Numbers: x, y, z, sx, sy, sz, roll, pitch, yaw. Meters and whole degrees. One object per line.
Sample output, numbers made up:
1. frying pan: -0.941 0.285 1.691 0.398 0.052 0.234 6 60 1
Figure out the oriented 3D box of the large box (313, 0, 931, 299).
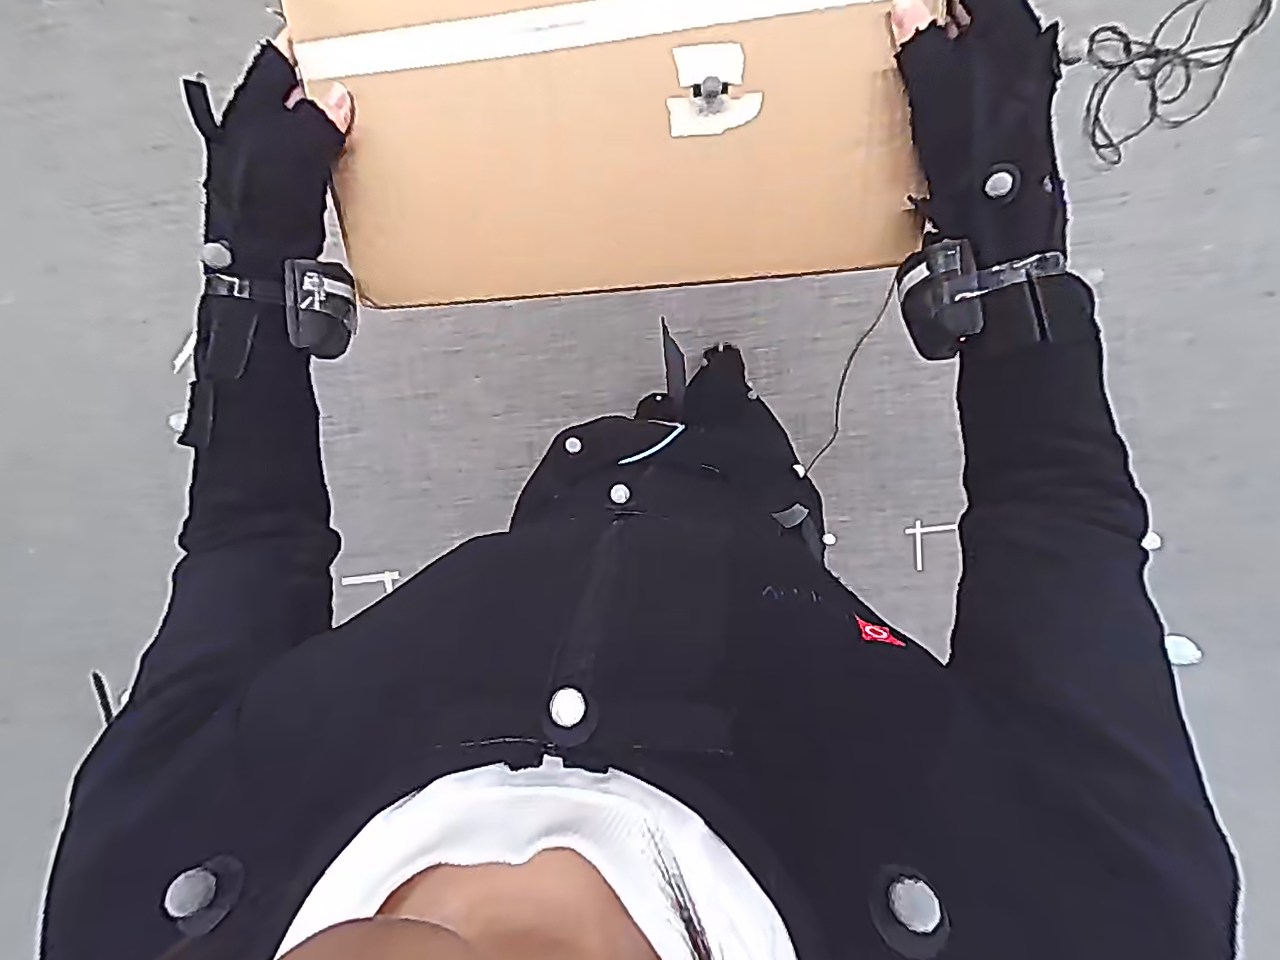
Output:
1. large box: -0.007 -0.349 0.487 0.408 0.320 0.320 -3 111 6
